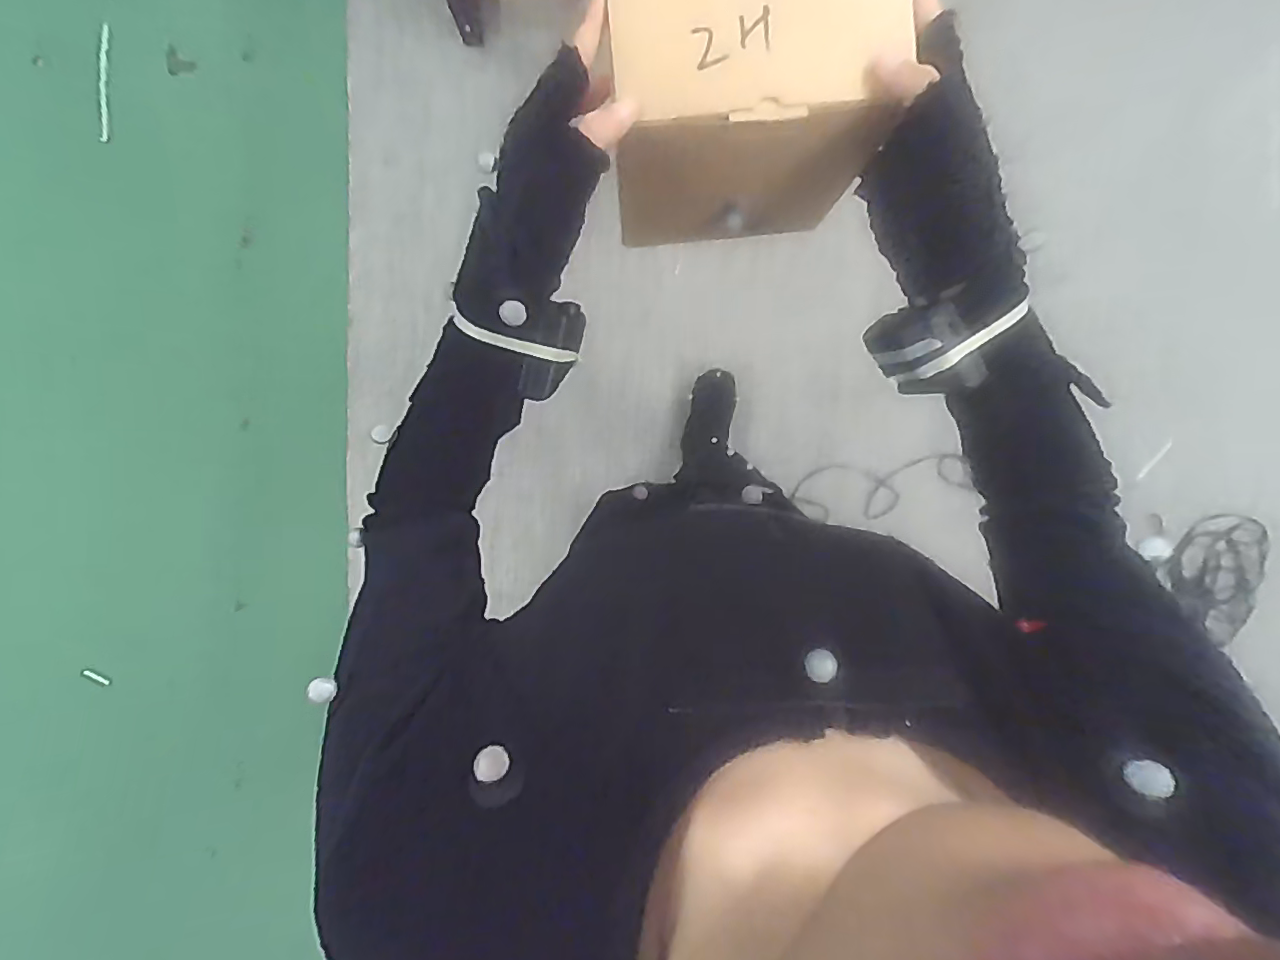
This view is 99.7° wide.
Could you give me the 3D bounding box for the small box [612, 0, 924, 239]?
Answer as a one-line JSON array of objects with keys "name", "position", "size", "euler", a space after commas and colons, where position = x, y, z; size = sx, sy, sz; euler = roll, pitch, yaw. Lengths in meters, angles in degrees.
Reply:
[{"name": "small box", "position": [0.067, -0.295, 0.376], "size": [0.168, 0.176, 0.179], "euler": [-5, 90, 0]}]
